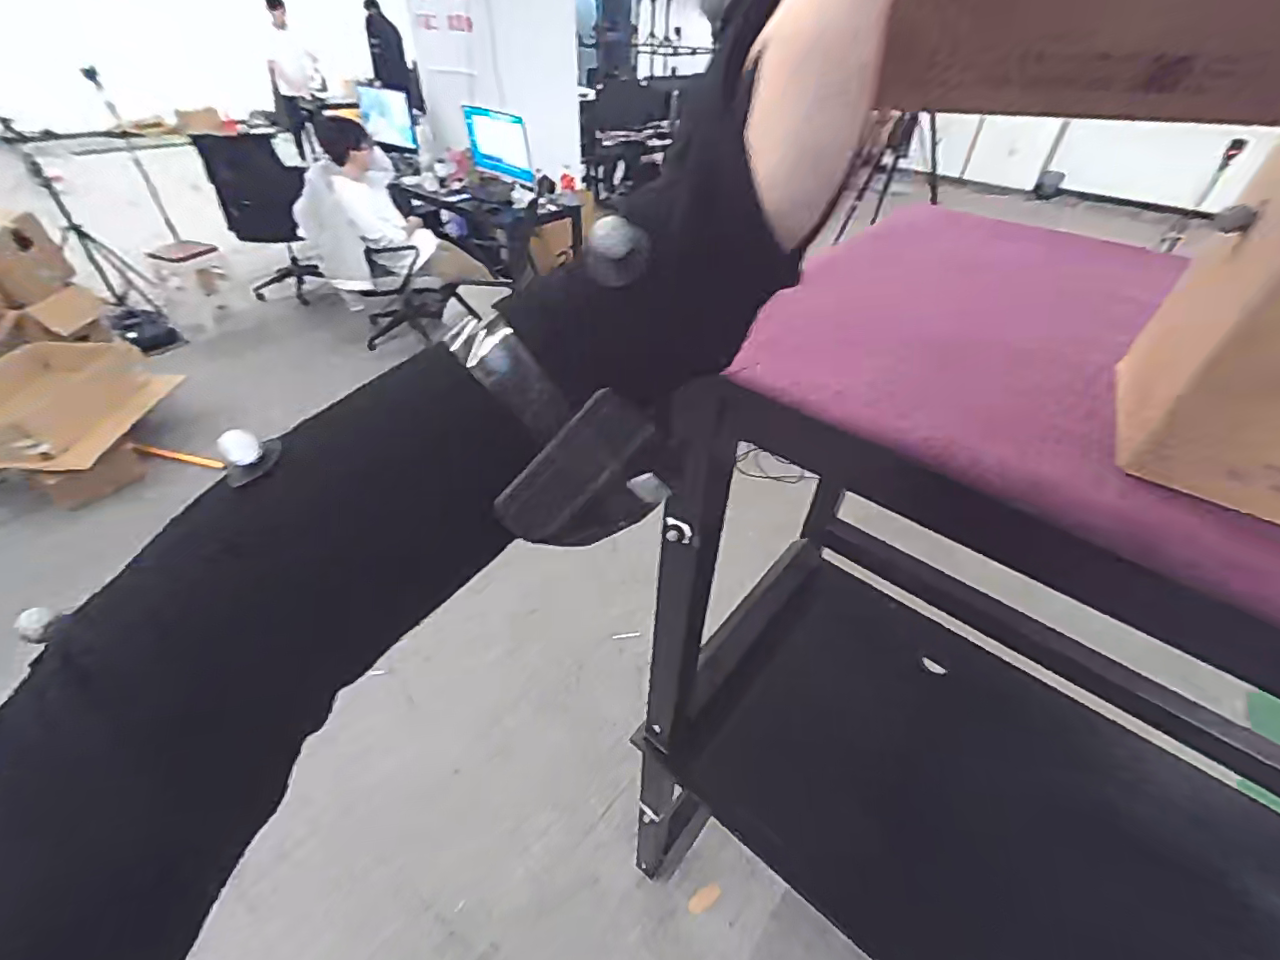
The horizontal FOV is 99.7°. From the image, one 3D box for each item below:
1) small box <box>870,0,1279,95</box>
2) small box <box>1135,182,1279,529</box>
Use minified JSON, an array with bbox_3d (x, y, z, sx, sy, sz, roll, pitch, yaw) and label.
[{"bbox_3d":[0.176,-0.248,0.148,0.168,0.176,0.179,16,79,16],"label":"small box"},{"bbox_3d":[0.398,-0.065,0.272,0.168,0.176,0.179,28,45,25],"label":"small box"}]
